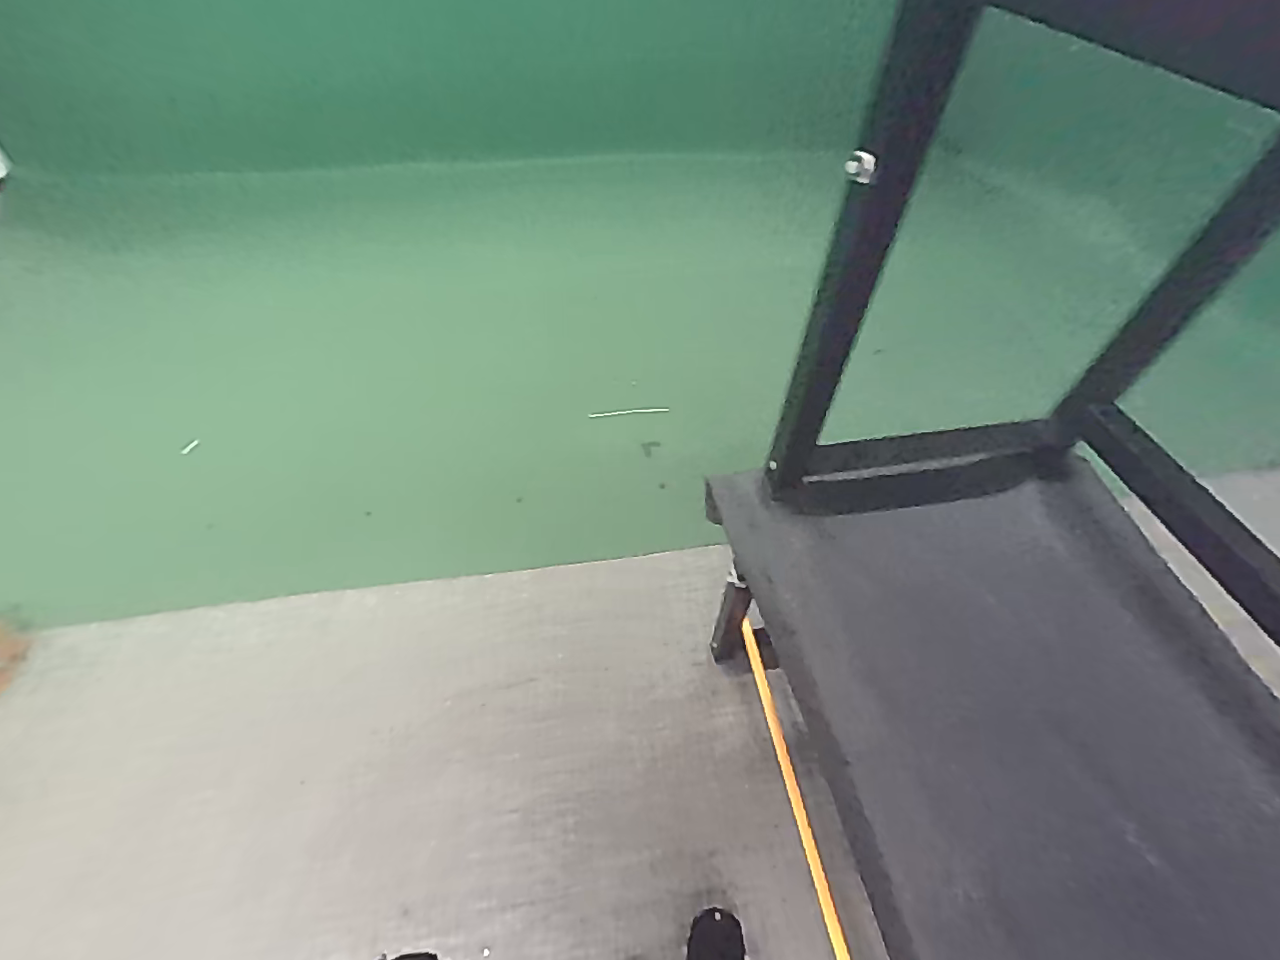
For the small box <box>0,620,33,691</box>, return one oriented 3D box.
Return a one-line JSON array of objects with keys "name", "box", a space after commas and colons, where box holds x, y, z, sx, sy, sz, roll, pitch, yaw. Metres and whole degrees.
[{"name": "small box", "box": [-1.768, 0.460, 1.395, 0.179, 0.176, 0.168, -5, 51, -6]}]
